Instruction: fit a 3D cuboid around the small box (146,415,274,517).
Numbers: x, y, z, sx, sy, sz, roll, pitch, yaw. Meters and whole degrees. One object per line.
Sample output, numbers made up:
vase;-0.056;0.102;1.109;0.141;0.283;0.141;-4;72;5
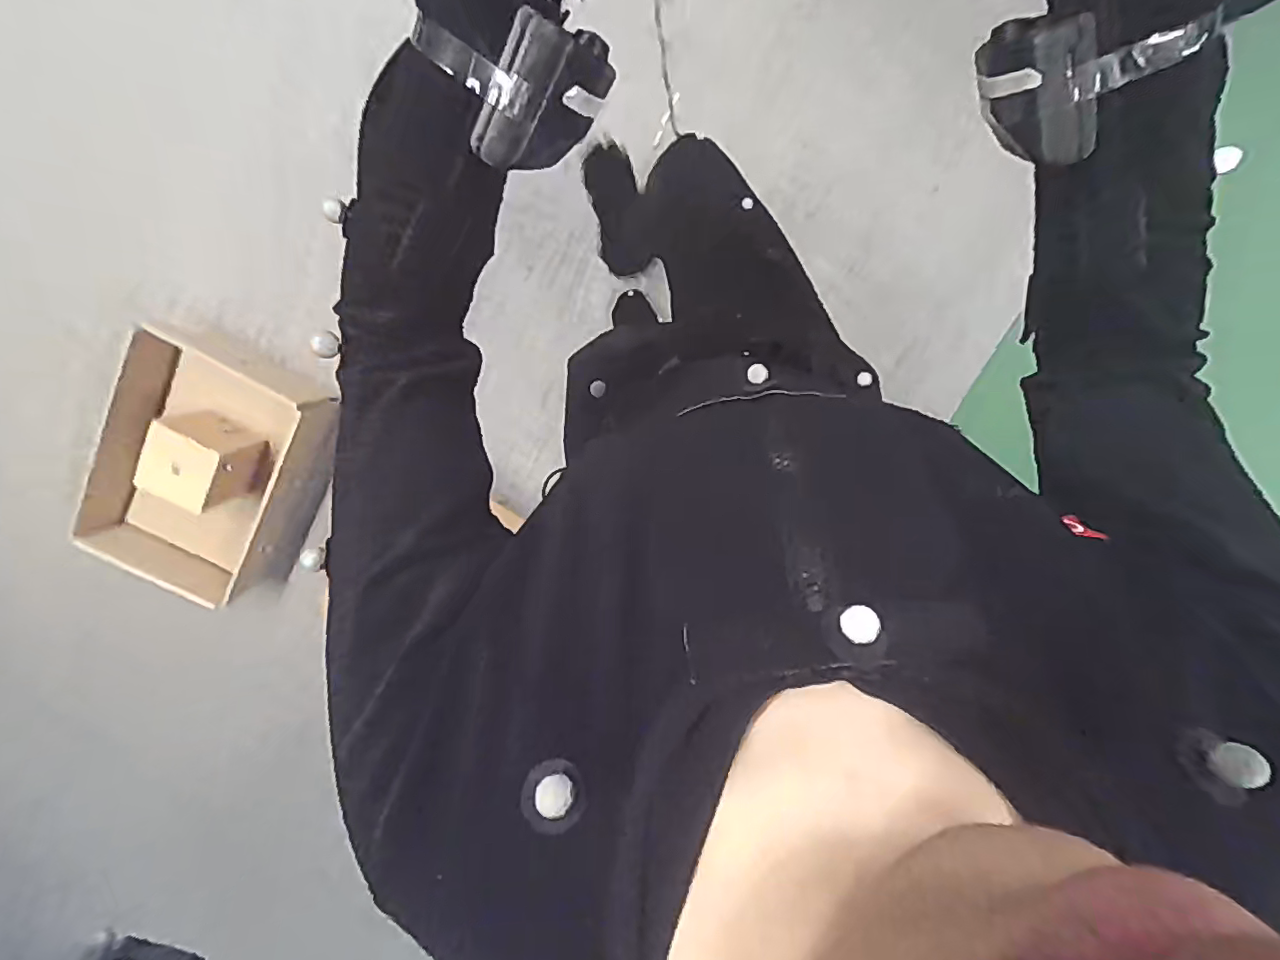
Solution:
small box;-1.061;-0.042;1.349;0.168;0.176;0.179;29;105;-6
